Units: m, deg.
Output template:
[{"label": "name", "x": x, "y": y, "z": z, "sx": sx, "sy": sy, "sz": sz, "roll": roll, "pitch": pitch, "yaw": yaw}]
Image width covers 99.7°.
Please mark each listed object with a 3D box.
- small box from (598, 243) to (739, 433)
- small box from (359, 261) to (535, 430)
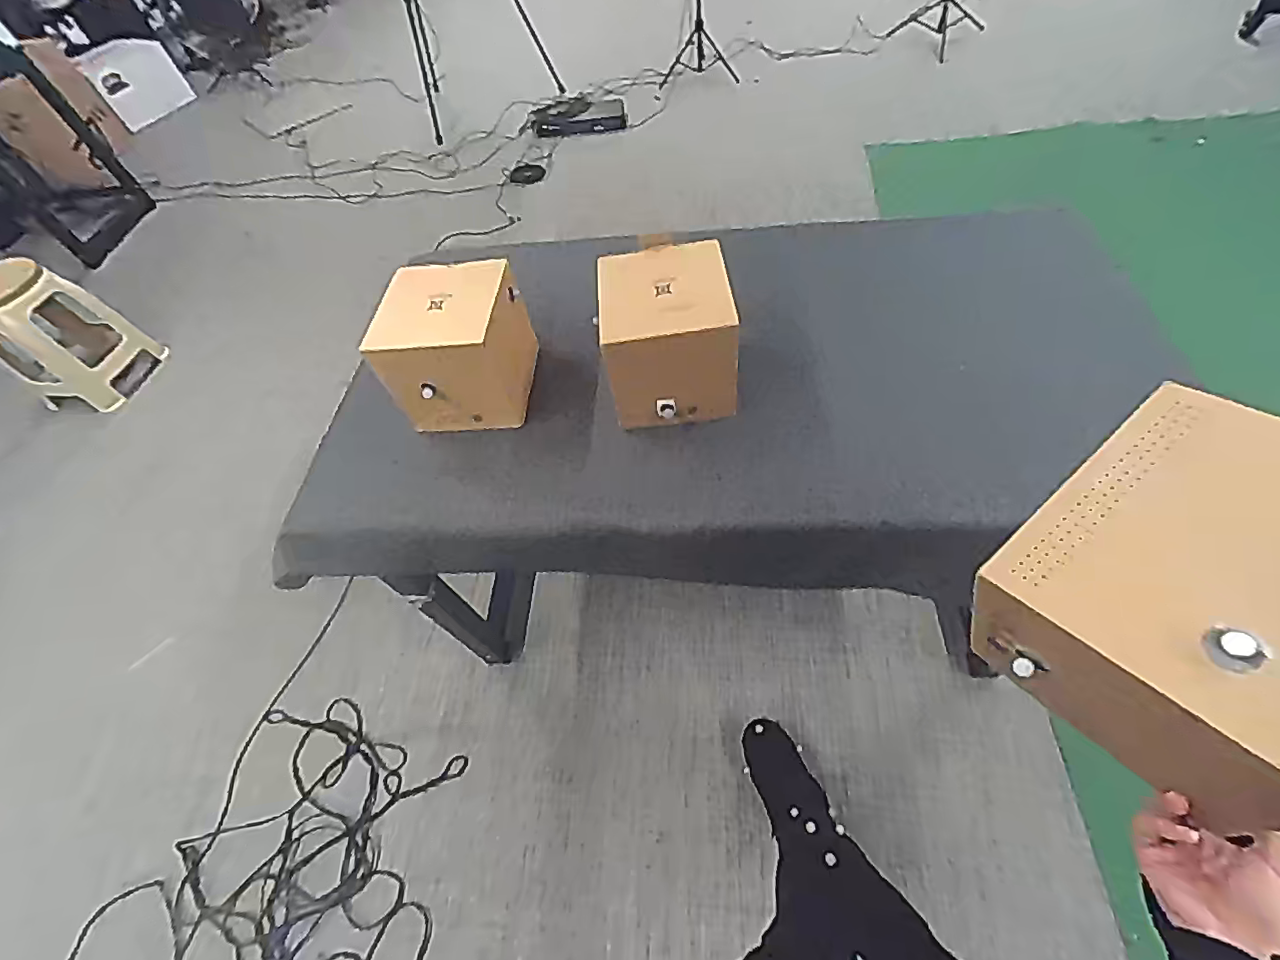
[{"label": "small box", "x": 0.038, "y": -0.190, "z": 0.740, "sx": 0.168, "sy": 0.176, "sz": 0.179, "roll": -8, "pitch": 55, "yaw": 4}, {"label": "small box", "x": -0.259, "y": -0.184, "z": 0.777, "sx": 0.168, "sy": 0.176, "sz": 0.179, "roll": -2, "pitch": 54, "yaw": 6}]
